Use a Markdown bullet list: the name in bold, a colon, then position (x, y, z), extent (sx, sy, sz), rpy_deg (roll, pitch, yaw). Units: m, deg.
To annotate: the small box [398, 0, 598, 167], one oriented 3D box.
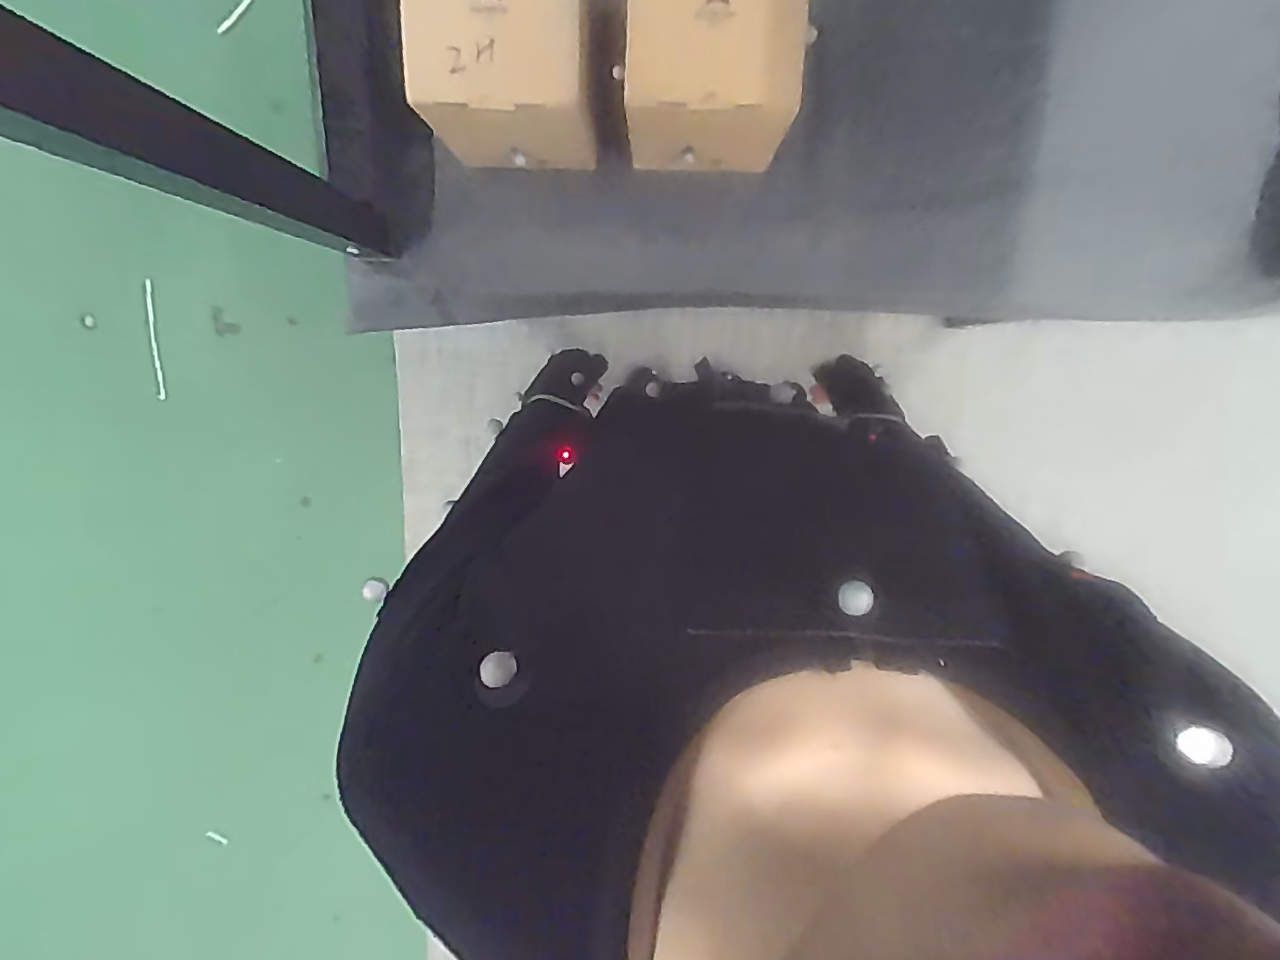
- **small box**: position (-0.135, -0.456, 0.565), extent (0.168, 0.176, 0.179), rpy_deg (2, 102, 1)
